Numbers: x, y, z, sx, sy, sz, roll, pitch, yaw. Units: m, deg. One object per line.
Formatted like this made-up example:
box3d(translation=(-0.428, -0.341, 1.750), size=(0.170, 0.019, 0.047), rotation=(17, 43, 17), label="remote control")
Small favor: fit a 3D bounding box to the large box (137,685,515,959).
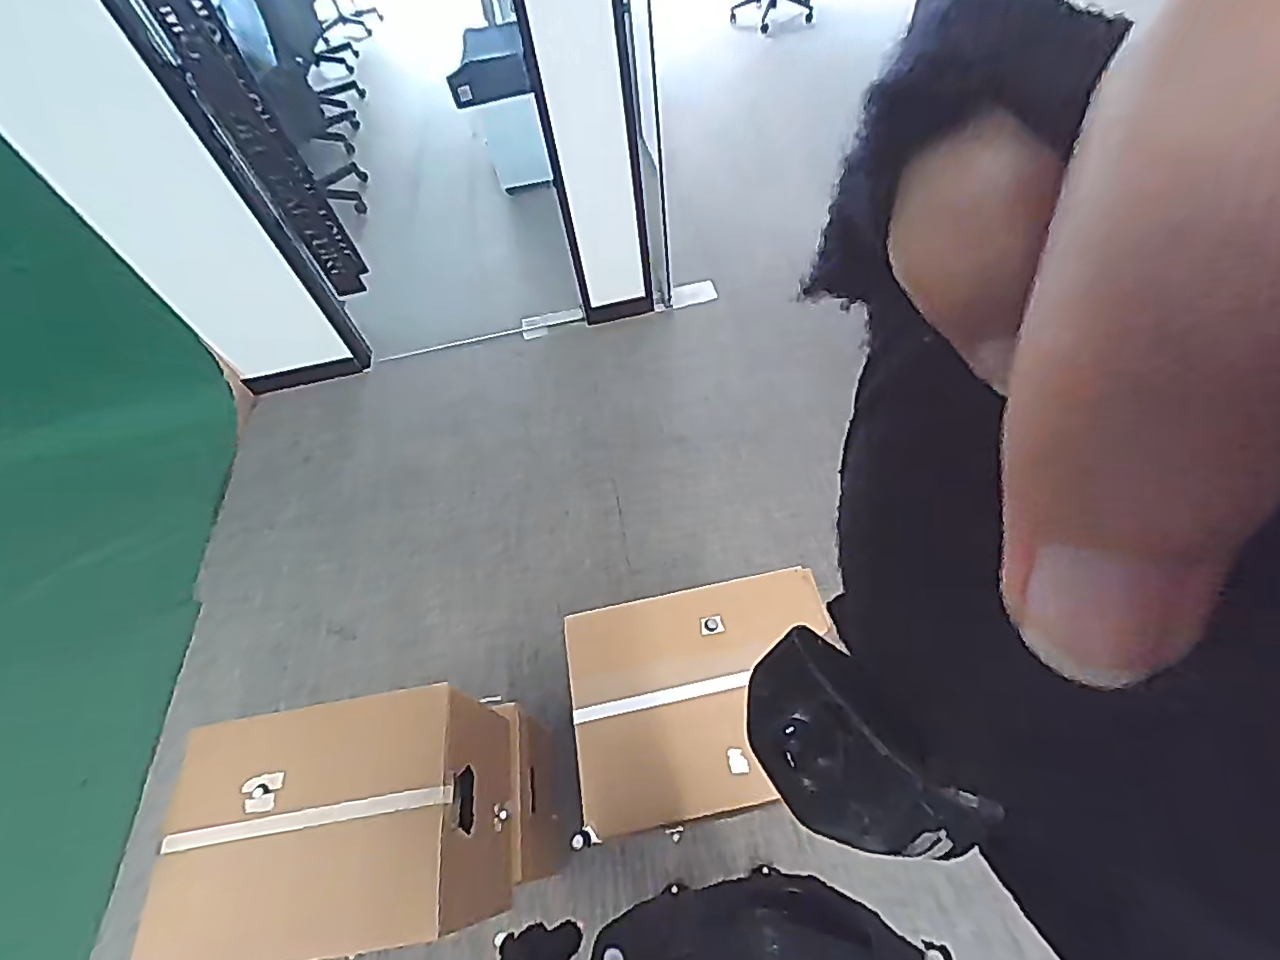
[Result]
box3d(translation=(-0.445, 0.555, 0.874), size=(0.408, 0.320, 0.320), rotation=(-10, 56, 1), label="large box")
